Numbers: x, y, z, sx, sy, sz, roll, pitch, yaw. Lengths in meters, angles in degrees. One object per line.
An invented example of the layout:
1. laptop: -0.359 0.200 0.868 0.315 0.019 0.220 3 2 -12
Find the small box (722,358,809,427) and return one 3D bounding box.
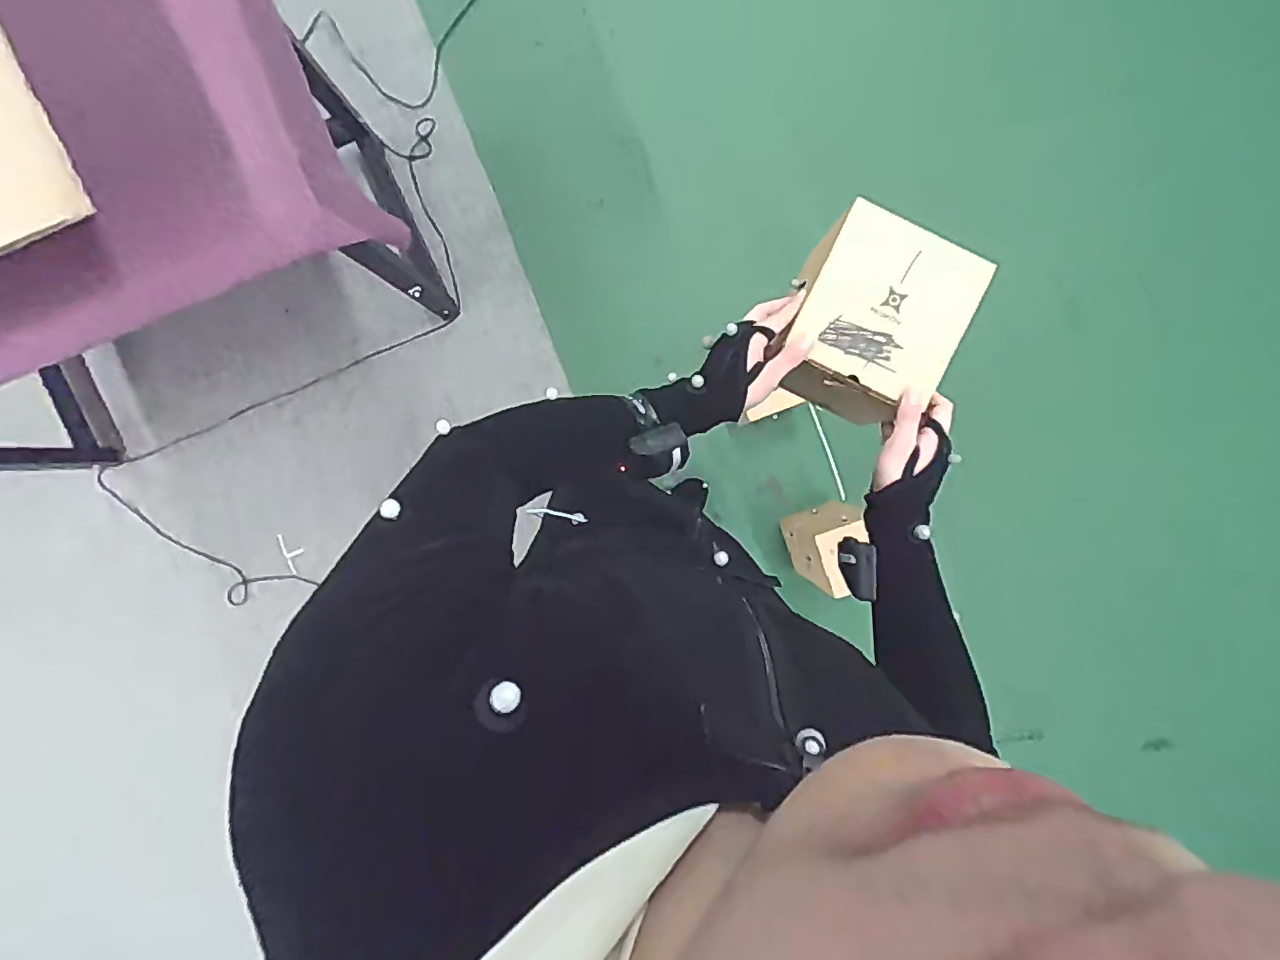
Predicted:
1. small box: 0.349 -0.258 1.535 0.179 0.176 0.168 -21 92 1

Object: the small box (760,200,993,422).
1. small box: 0.258 -0.181 0.641 0.168 0.176 0.179 25 91 -1

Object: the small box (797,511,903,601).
1. small box: 0.529 0.186 1.383 0.179 0.176 0.168 -20 92 1
